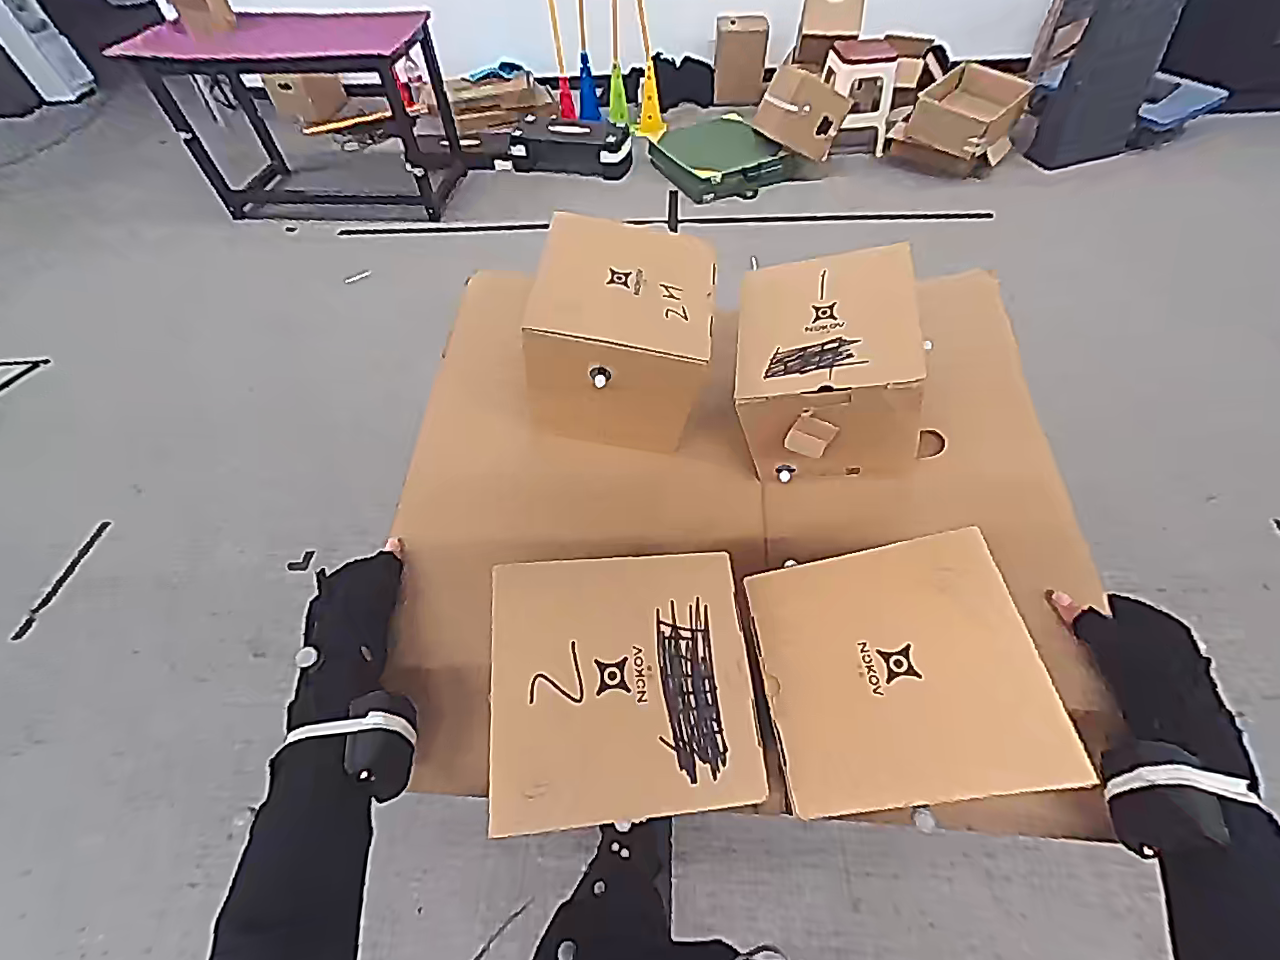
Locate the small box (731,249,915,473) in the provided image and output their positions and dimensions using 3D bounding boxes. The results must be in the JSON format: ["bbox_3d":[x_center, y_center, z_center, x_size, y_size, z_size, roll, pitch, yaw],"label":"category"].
[{"bbox_3d":[0.204,-0.116,0.598,0.168,0.176,0.179,-2,60,21],"label":"small box"}]
